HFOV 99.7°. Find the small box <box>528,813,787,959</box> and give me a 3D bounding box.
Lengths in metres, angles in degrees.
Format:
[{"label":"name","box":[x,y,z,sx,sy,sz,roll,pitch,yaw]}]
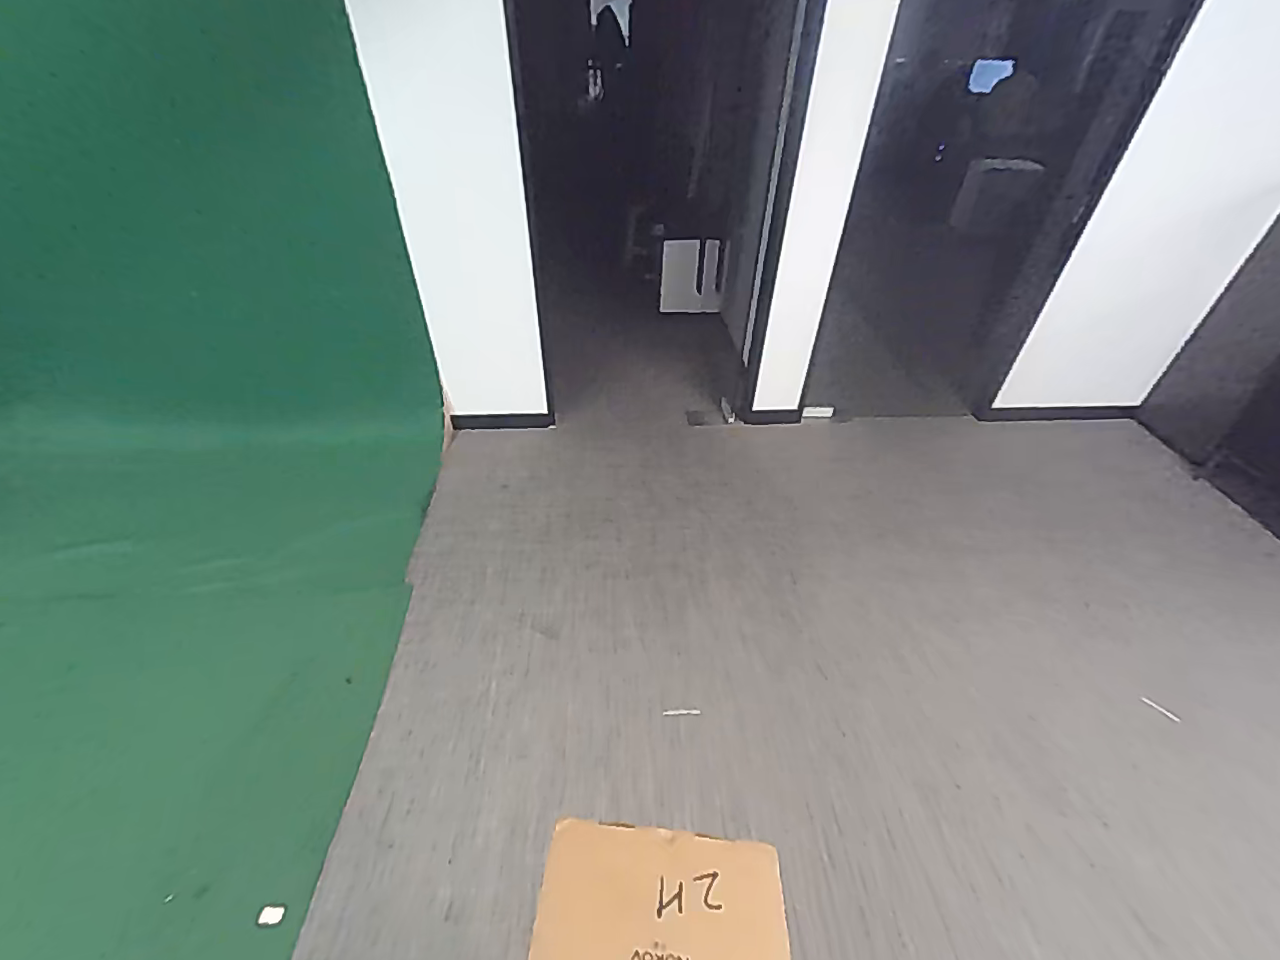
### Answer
[{"label":"small box","box":[0.005,0.374,0.375,0.168,0.176,0.179,7,31,1]}]
